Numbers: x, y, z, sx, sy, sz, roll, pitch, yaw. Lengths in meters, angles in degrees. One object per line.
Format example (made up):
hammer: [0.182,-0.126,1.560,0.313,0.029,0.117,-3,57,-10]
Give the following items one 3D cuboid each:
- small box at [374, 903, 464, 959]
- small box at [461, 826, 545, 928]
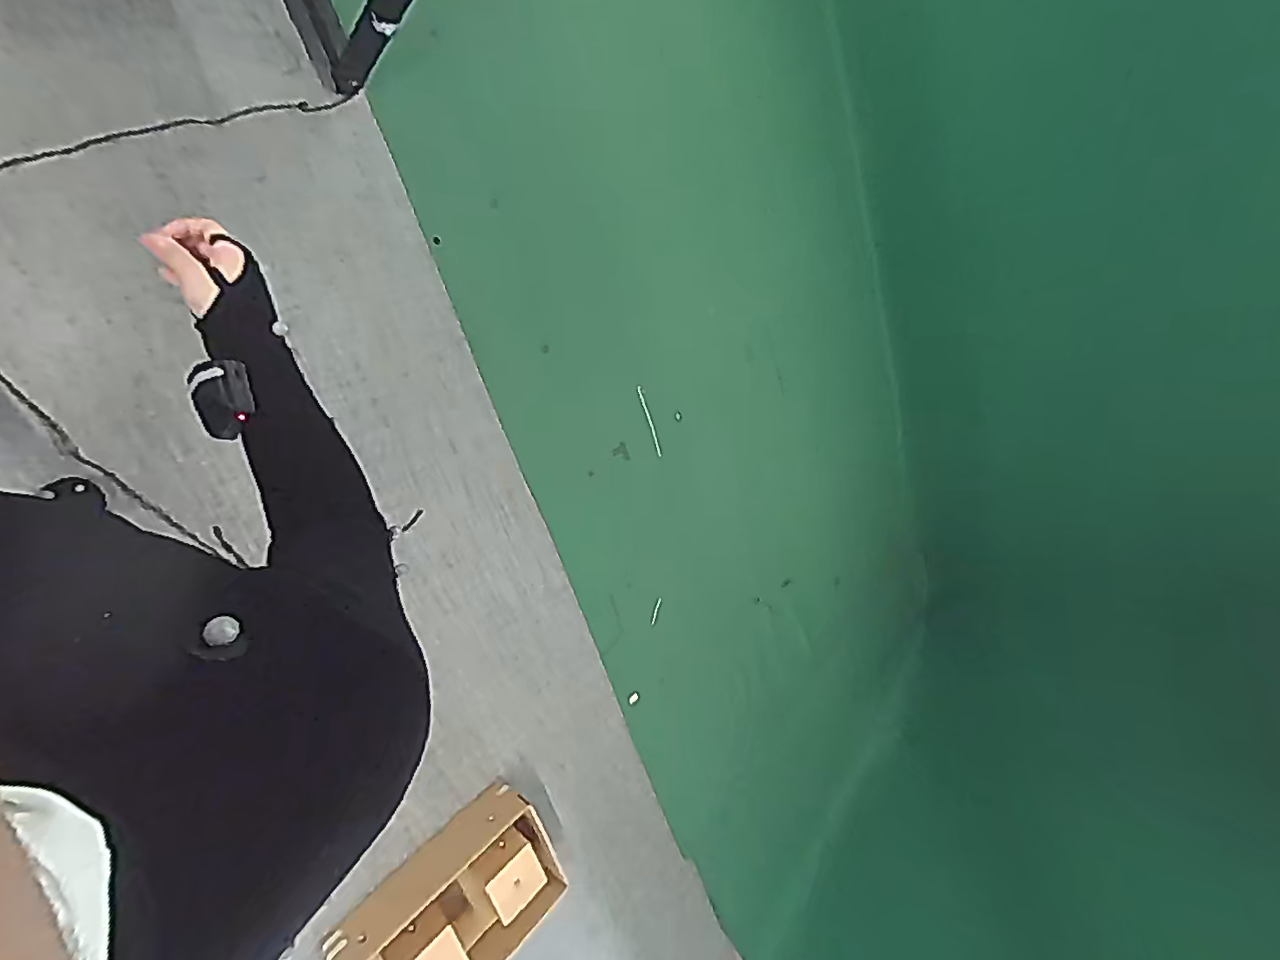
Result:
small box: [-0.624,1.358,1.536,0.168,0.176,0.179,-30,110,-40]
small box: [-0.437,1.242,1.713,0.168,0.176,0.179,-31,113,-38]
